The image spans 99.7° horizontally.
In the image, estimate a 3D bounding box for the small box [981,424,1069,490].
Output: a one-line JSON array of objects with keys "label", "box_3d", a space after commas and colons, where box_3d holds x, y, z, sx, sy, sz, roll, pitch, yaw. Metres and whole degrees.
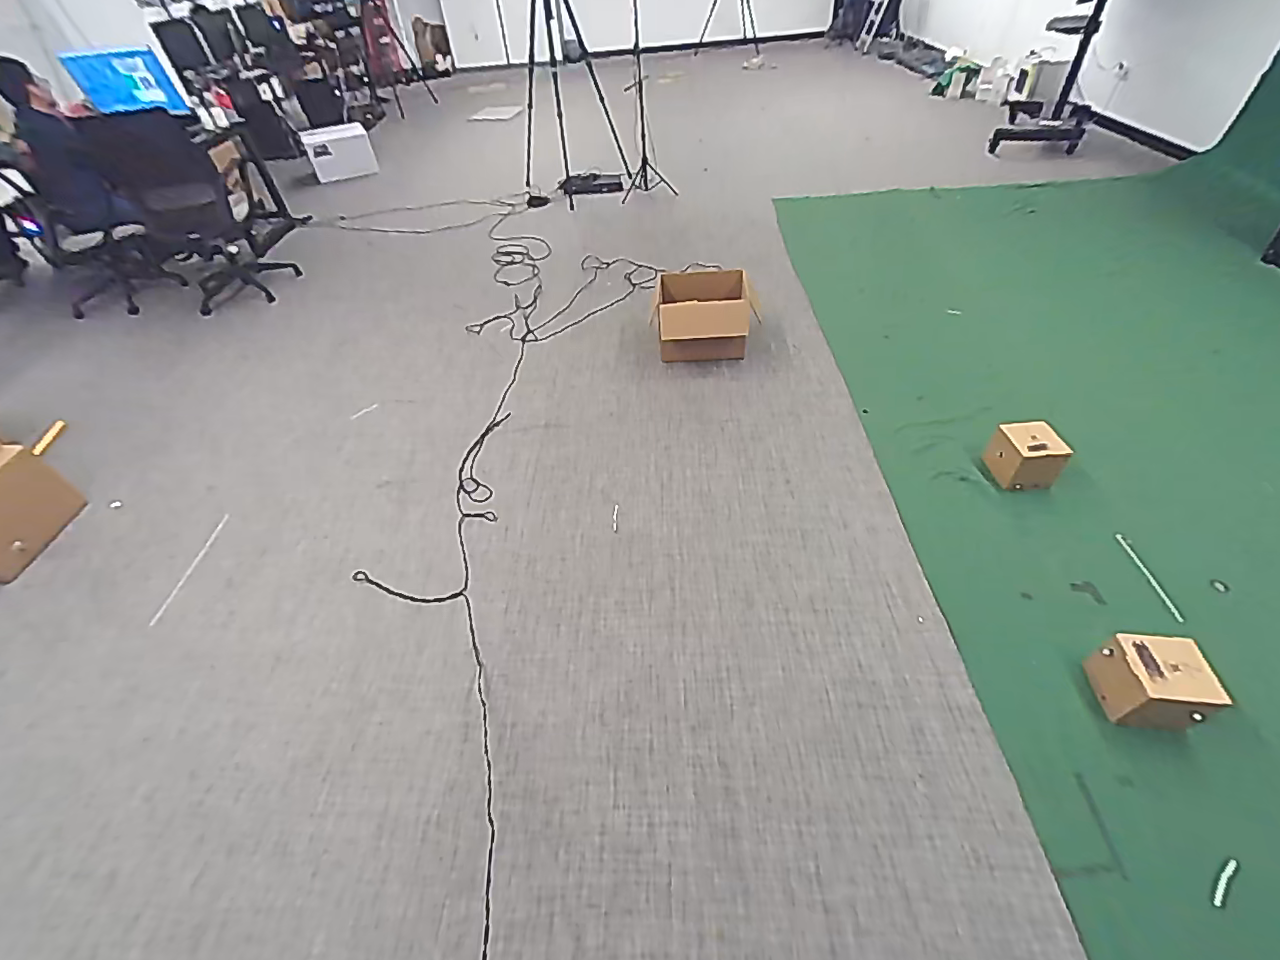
[{"label": "small box", "box_3d": [1.355, -0.076, 1.917, 0.168, 0.176, 0.179, -4, 44, 1]}]
